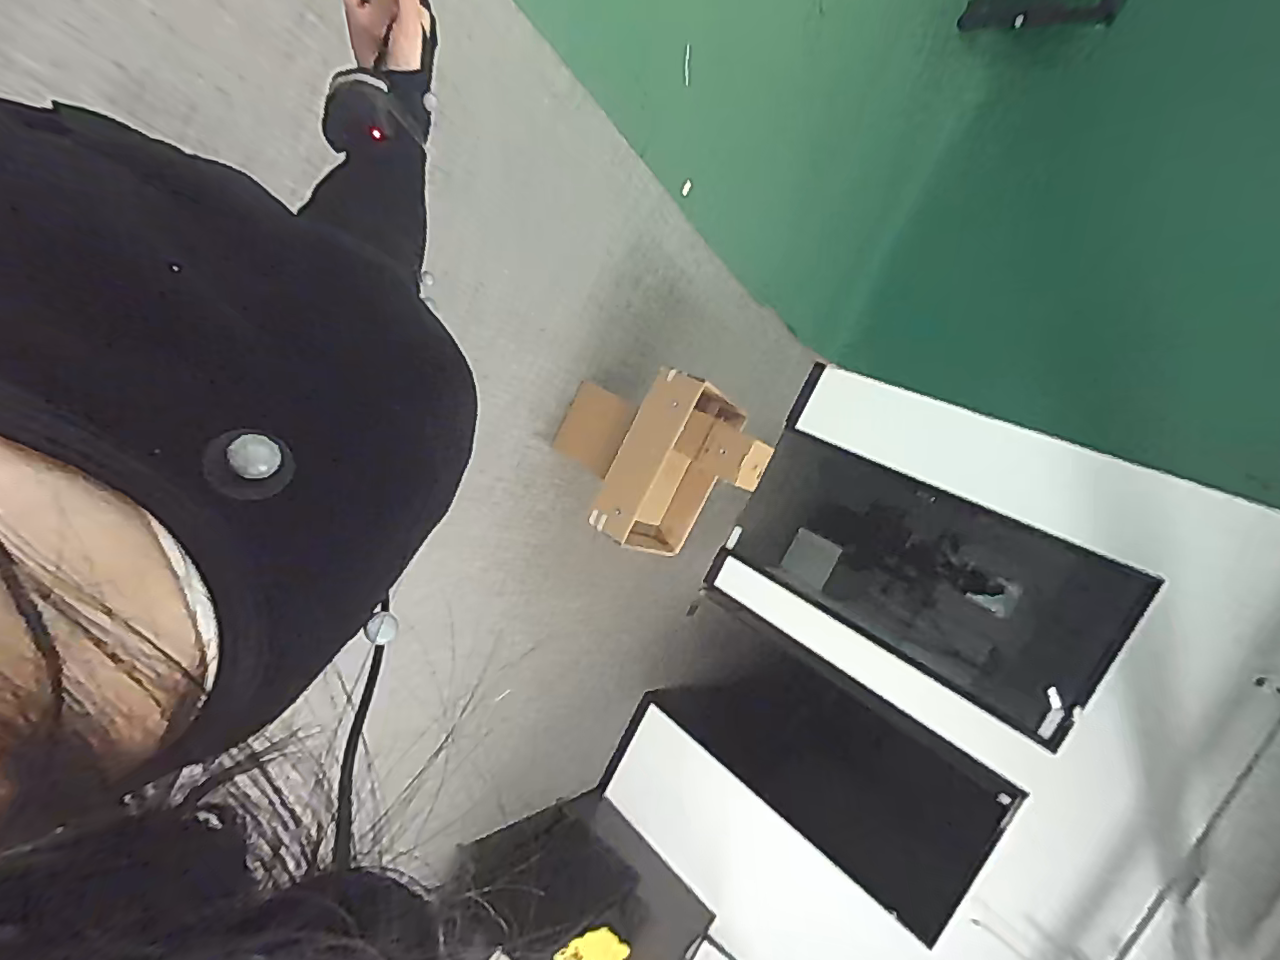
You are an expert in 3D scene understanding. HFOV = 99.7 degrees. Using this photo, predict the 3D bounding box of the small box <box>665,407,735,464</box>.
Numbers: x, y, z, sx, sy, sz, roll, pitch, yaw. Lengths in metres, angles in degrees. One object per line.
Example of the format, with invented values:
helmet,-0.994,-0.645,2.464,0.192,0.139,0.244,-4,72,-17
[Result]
small box,0.224,-0.148,1.961,0.179,0.176,0.168,15,103,-54

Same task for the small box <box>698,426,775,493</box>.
small box,0.328,-0.073,1.857,0.179,0.176,0.168,15,103,-54
